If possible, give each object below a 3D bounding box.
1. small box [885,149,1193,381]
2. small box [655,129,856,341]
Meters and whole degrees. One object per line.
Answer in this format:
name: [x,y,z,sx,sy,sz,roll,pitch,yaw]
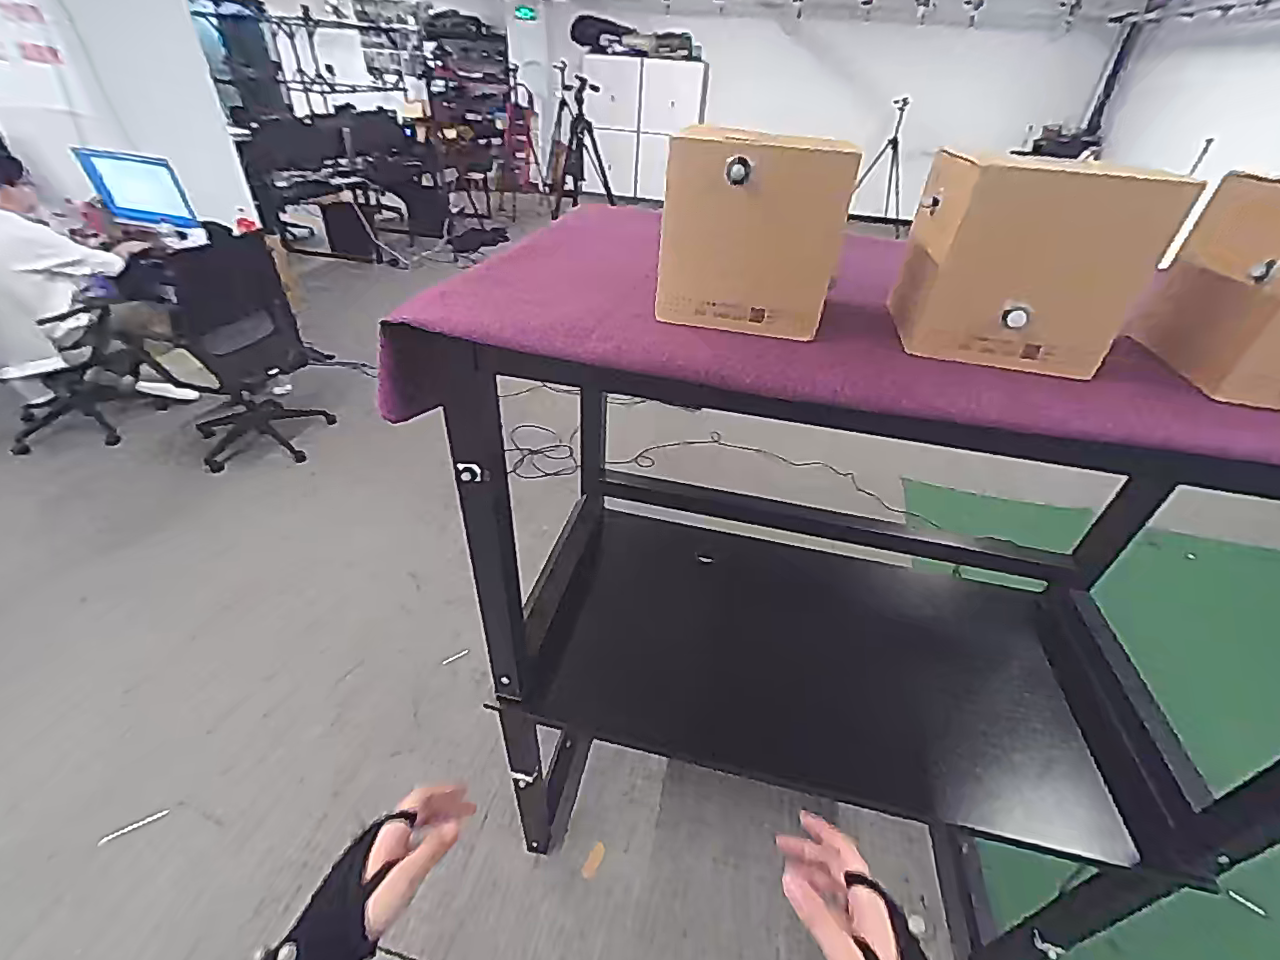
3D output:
small box: [0.360,-0.219,0.539,0.168,0.176,0.179,11,36,9]
small box: [0.114,-0.264,0.575,0.168,0.176,0.179,10,35,8]
